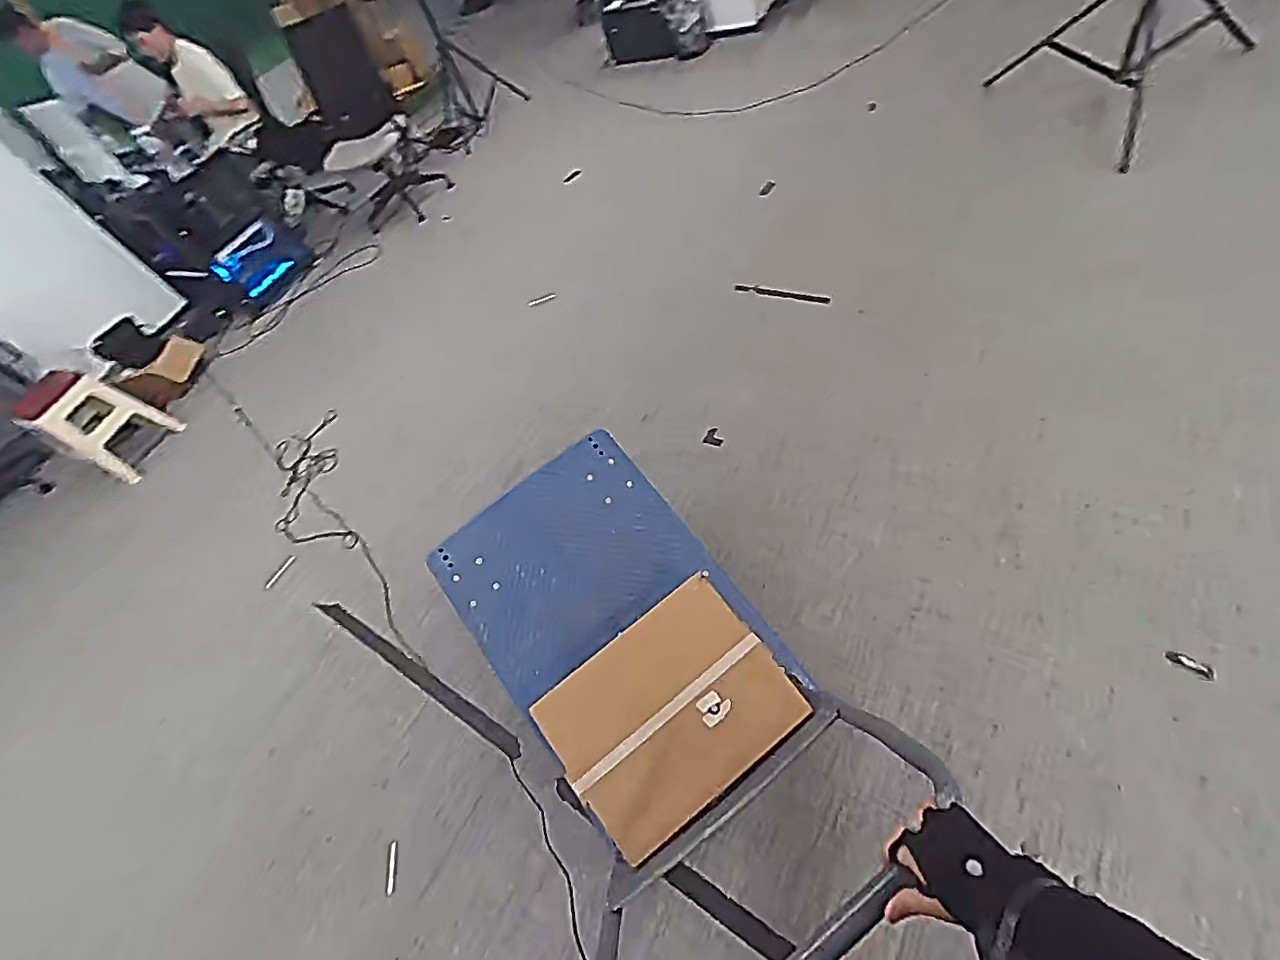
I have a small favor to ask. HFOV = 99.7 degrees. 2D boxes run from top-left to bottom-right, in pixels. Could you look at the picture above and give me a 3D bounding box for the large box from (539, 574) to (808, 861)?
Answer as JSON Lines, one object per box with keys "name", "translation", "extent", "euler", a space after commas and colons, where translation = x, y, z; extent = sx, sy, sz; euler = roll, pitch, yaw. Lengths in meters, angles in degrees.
{"name": "large box", "translation": [0.066, 0.459, 1.118], "extent": [0.408, 0.320, 0.320], "euler": [-38, 74, -9]}
